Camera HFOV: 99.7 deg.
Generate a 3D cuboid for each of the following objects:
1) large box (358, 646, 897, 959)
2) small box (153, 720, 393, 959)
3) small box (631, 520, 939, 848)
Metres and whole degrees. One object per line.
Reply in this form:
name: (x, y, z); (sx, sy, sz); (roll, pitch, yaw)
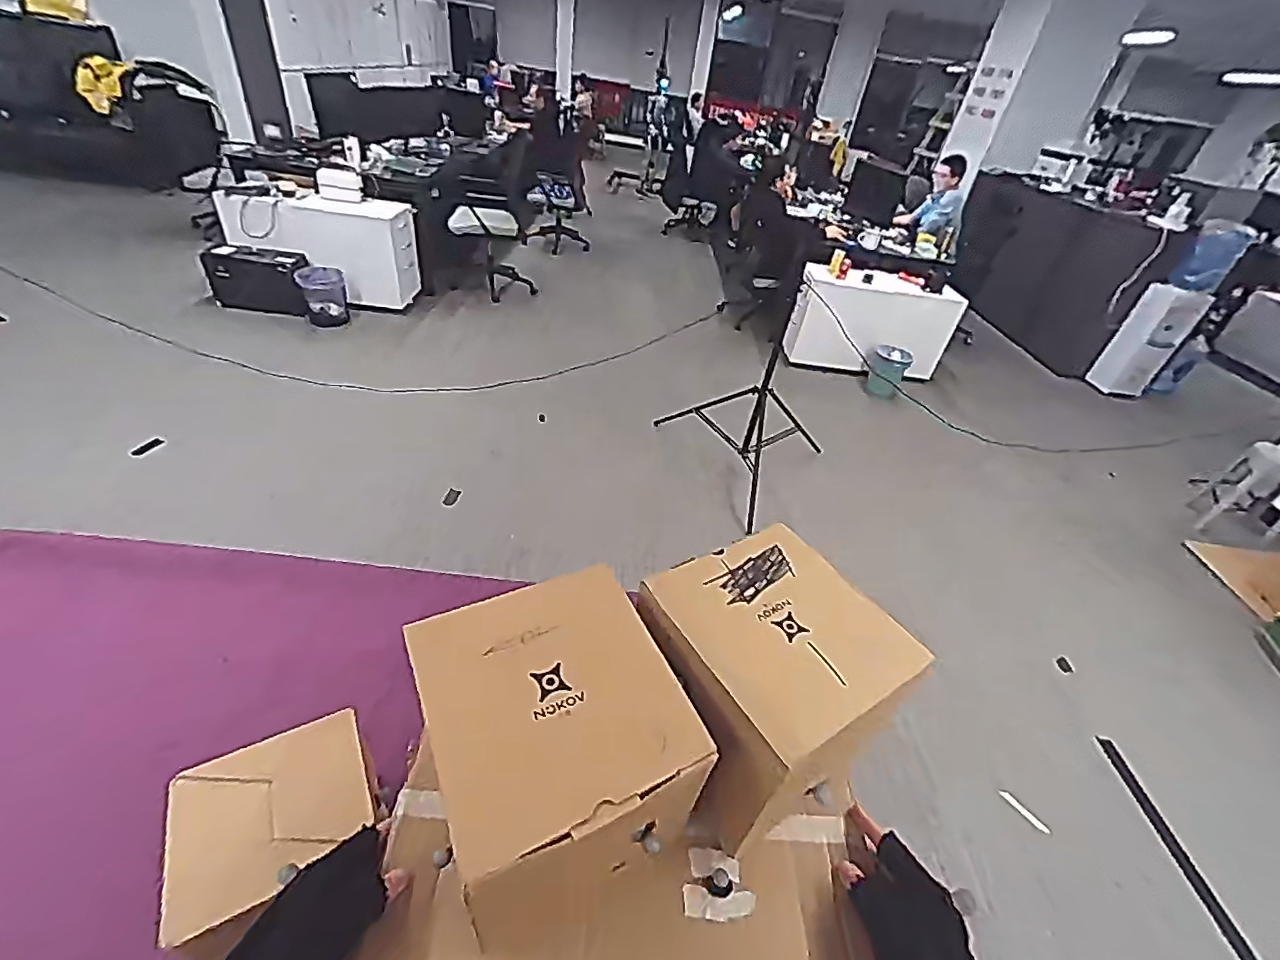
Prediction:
large box: (-0.019, 0.402, 0.558); (0.408, 0.320, 0.320); (6, 40, -4)
small box: (-0.386, 0.399, 0.597); (0.179, 0.176, 0.168); (-15, 42, -26)
small box: (0.106, 0.169, 0.474); (0.168, 0.176, 0.179); (-18, 45, -29)
